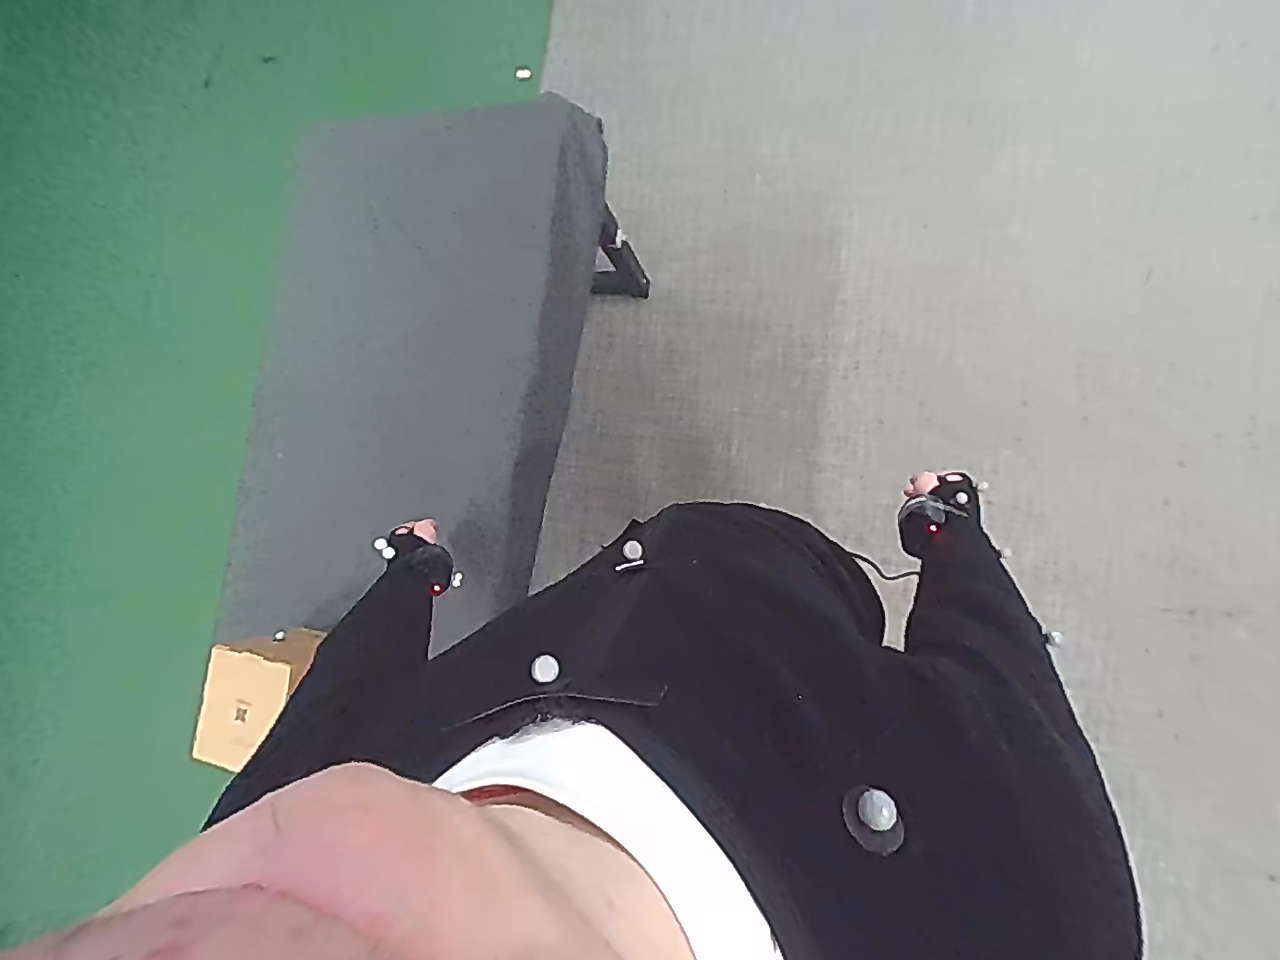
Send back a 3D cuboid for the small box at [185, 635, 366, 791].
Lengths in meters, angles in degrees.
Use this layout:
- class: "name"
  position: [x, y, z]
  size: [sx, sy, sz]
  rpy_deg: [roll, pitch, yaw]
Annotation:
- class: "small box"
  position: [-0.587, 0.366, 0.891]
  size: [0.168, 0.176, 0.179]
  rpy_deg: [8, 86, 18]
